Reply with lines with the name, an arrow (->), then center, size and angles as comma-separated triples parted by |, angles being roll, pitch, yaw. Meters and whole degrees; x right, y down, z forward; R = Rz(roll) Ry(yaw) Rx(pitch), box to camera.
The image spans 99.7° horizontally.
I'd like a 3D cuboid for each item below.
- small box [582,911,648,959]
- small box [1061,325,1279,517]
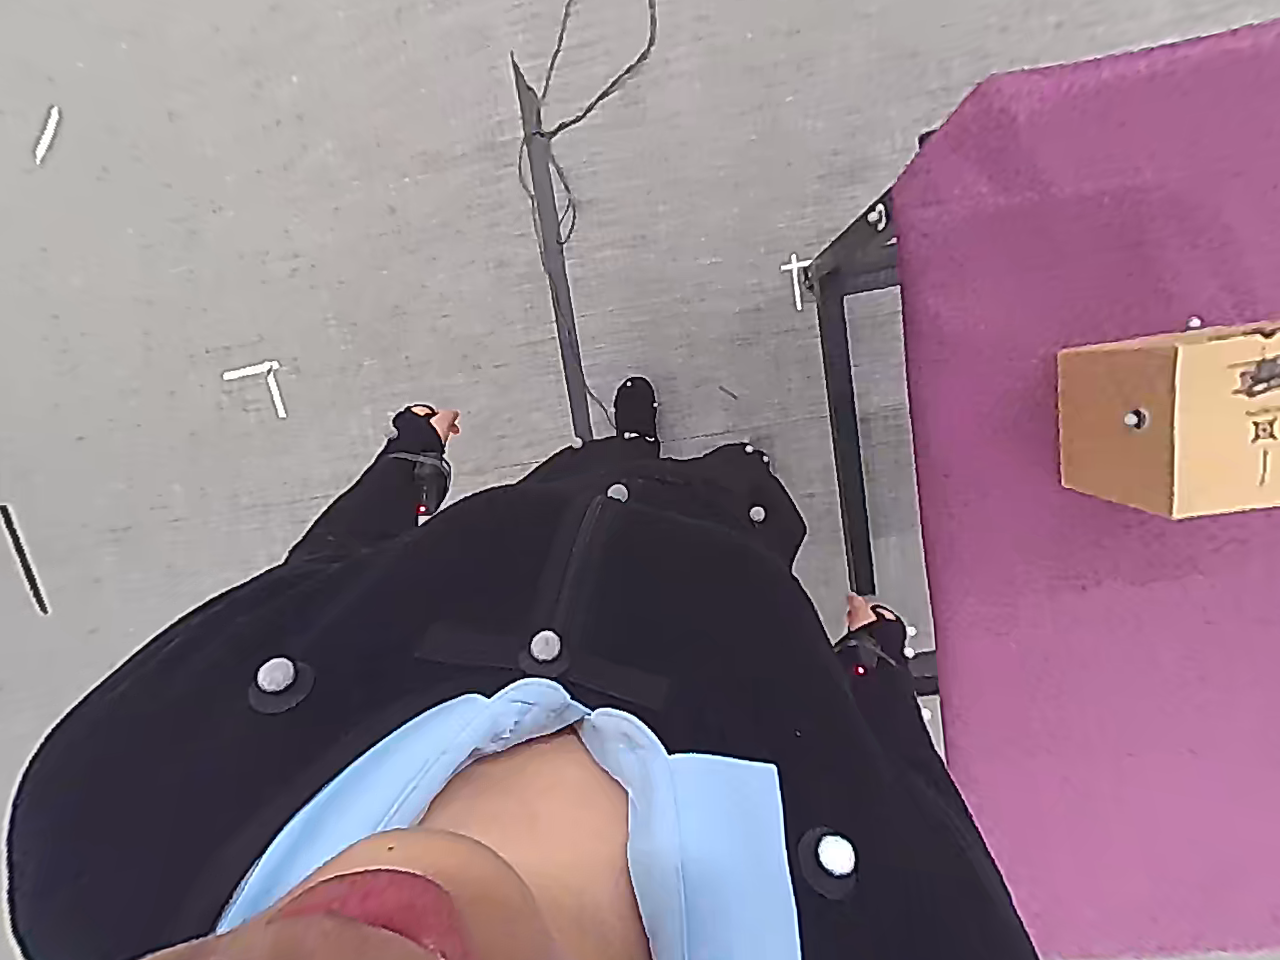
small box -> -0.074, 1.451, 1.639 | 0.168, 0.176, 0.179 | -12, 101, 7
small box -> 0.609, -0.071, 0.602 | 0.168, 0.176, 0.179 | -8, 101, 6
